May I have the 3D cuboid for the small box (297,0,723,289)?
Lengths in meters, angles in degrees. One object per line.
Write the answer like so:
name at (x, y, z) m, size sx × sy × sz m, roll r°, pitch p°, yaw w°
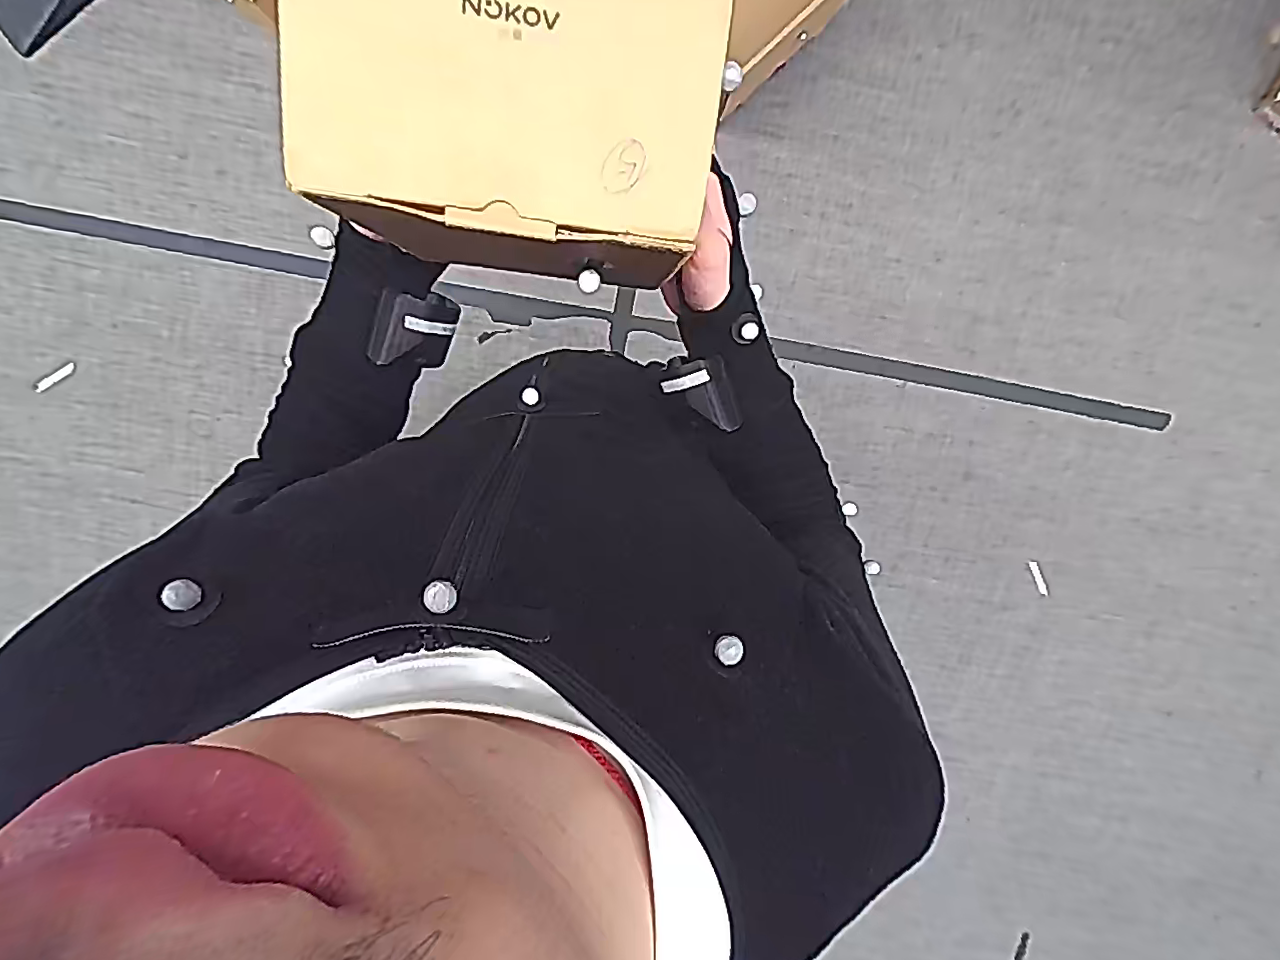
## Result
small box at (-0.054, -0.208, 0.290) m, size 0.168 × 0.176 × 0.179 m, roll 6°, pitch 102°, yaw -7°
